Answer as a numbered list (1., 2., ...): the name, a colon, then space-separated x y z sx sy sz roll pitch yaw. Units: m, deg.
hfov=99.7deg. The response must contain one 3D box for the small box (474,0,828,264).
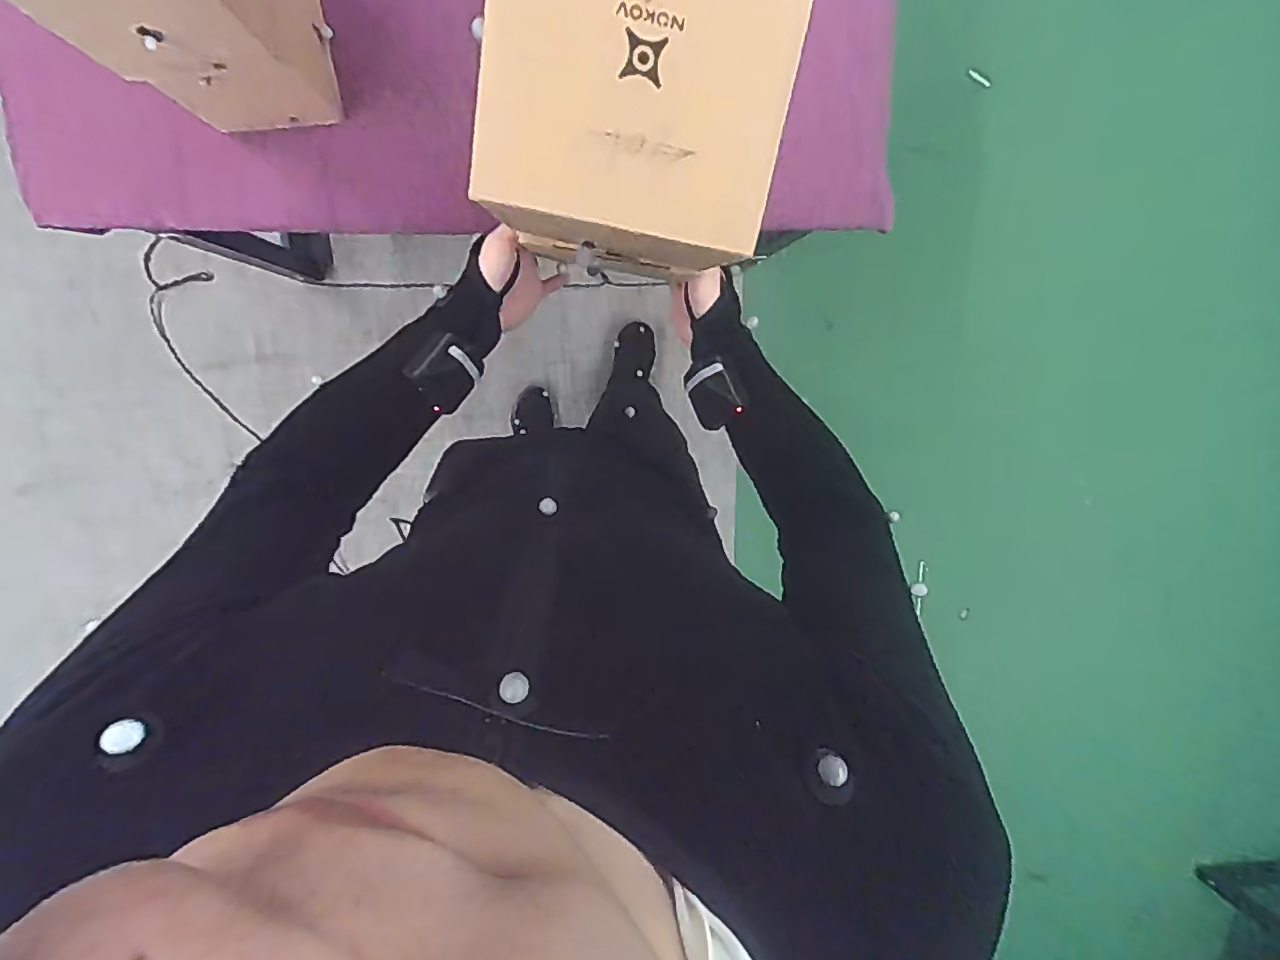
1. small box: 0.001 -0.249 0.347 0.168 0.176 0.179 10 108 -8

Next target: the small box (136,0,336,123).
1. small box: -0.483 -0.547 0.622 0.168 0.176 0.179 -8 102 -6

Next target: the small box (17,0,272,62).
1. small box: -0.457 -0.496 0.466 0.168 0.176 0.179 -7 103 -7
